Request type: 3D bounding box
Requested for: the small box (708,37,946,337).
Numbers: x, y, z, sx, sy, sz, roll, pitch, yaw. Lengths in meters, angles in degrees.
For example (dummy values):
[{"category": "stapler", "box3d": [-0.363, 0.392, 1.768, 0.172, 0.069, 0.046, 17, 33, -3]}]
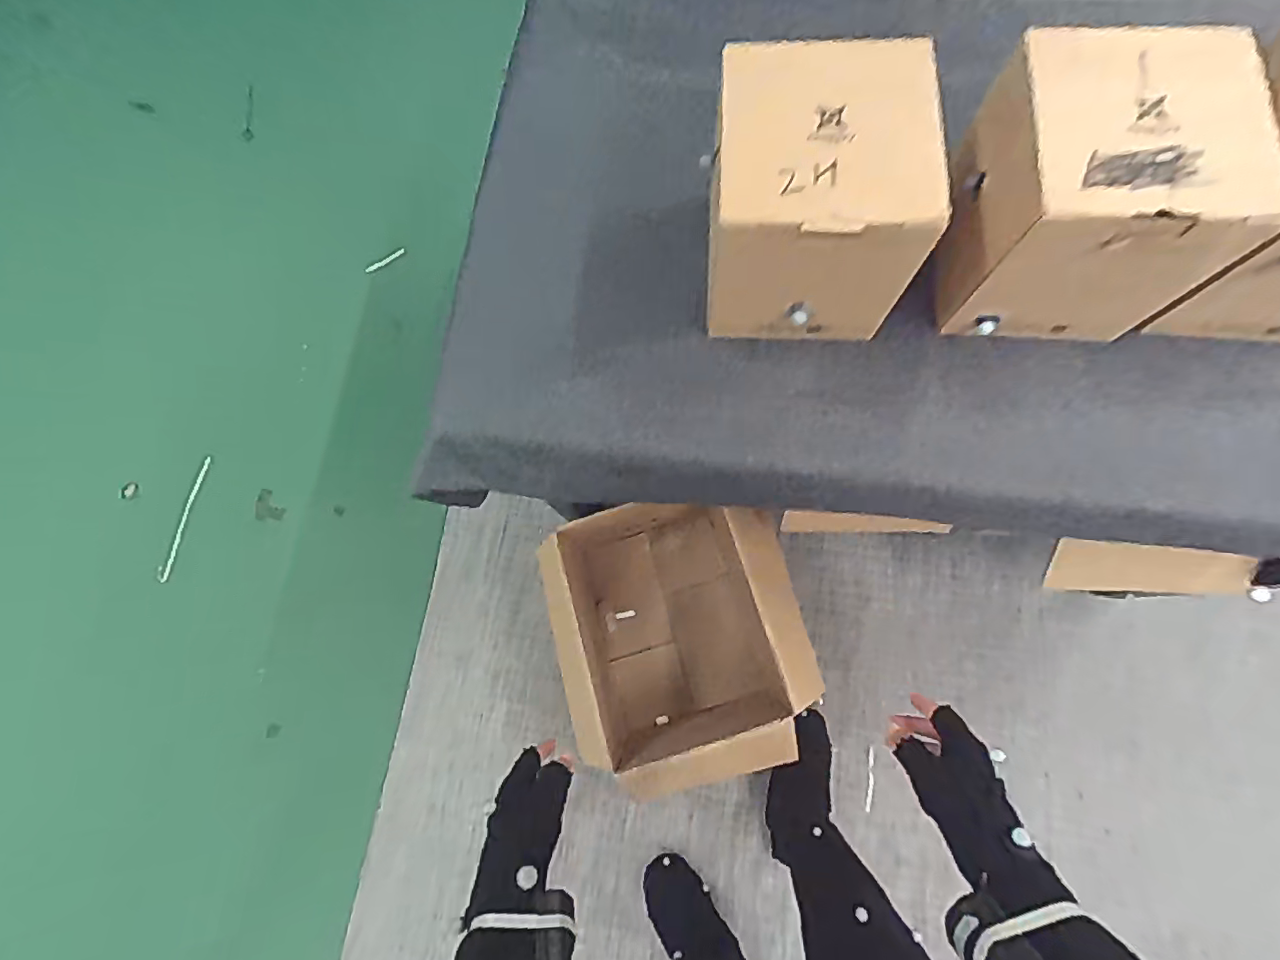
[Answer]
[{"category": "small box", "box3d": [0.149, -0.251, 0.492, 0.168, 0.176, 0.179, 2, 76, 5]}]
